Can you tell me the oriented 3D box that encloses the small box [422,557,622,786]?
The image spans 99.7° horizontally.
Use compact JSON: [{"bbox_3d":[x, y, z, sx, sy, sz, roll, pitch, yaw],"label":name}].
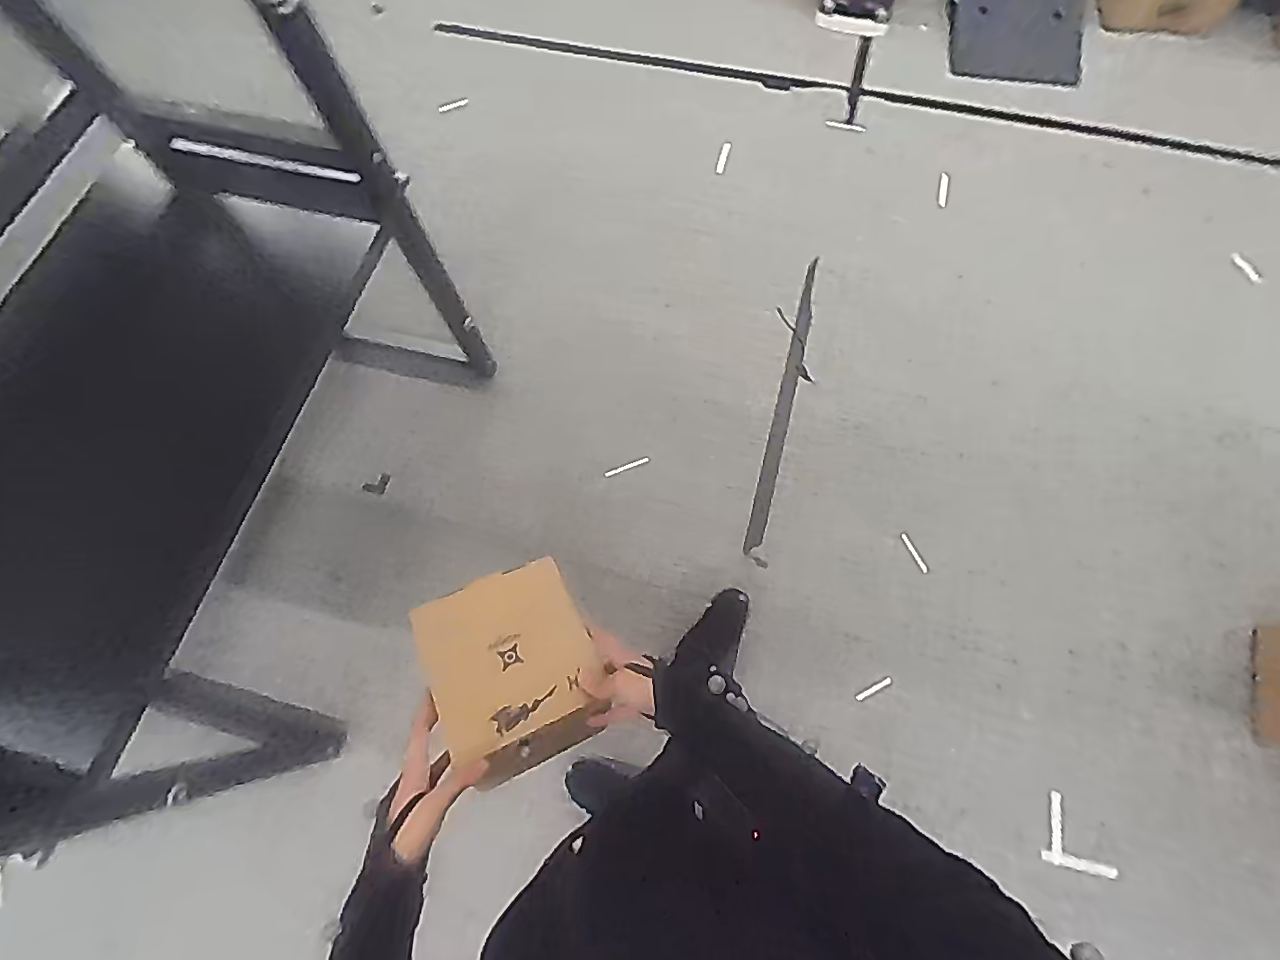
[{"bbox_3d":[-0.135,0.224,0.629,0.168,0.176,0.179,-19,60,-19],"label":"small box"}]
